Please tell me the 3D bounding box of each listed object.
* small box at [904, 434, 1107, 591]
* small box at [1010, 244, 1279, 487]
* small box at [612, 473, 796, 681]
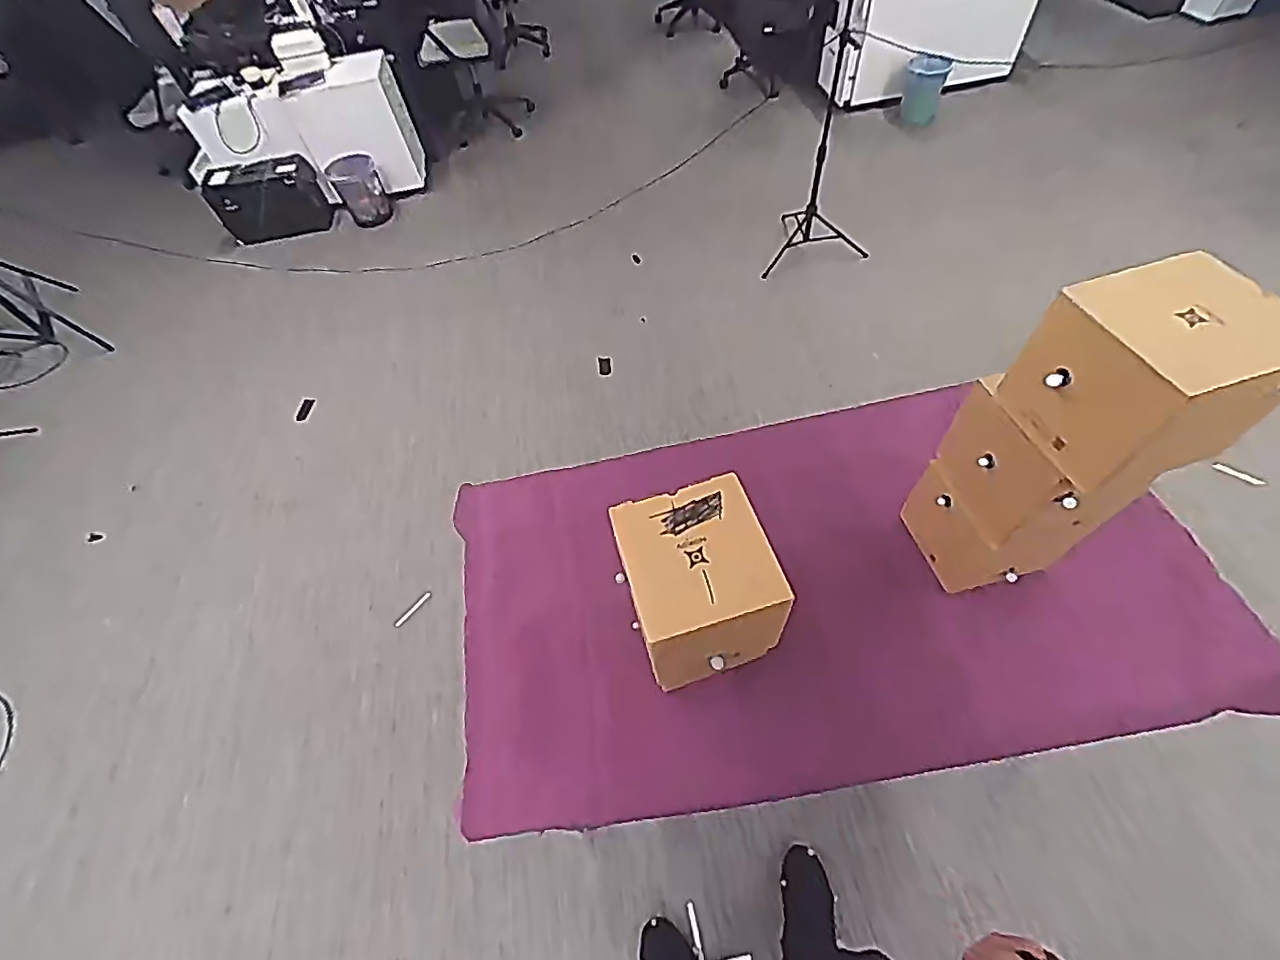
[{"bbox_3d":[0.561,0.056,0.861,0.179,0.176,0.168,-14,55,-4],"label":"small box"},{"bbox_3d":[0.544,-0.116,0.582,0.179,0.176,0.168,-17,55,-5],"label":"small box"},{"bbox_3d":[0.070,0.123,0.670,0.168,0.176,0.179,-16,56,-4],"label":"small box"}]
